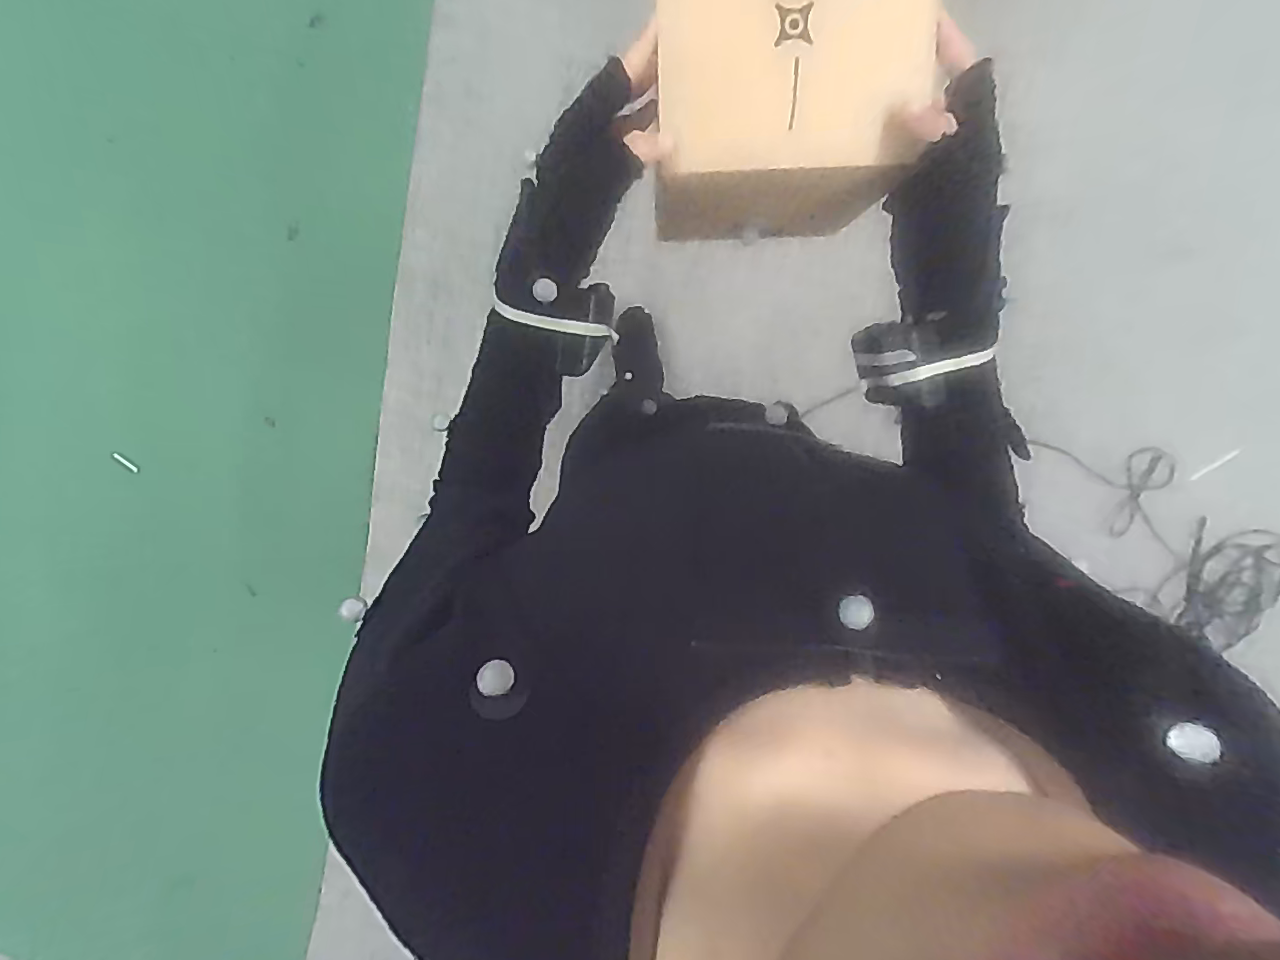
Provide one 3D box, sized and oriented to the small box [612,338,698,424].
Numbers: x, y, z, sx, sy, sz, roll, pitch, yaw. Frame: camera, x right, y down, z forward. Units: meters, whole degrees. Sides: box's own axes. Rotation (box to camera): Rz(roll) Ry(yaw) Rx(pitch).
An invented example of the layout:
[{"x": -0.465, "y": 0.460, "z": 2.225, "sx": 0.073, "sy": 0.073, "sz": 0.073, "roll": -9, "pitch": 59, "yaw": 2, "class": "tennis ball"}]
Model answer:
[{"x": 0.031, "y": -0.256, "z": 1.386, "sx": 0.168, "sy": 0.176, "sz": 0.179, "roll": 12, "pitch": 100, "yaw": -13, "class": "small box"}]
